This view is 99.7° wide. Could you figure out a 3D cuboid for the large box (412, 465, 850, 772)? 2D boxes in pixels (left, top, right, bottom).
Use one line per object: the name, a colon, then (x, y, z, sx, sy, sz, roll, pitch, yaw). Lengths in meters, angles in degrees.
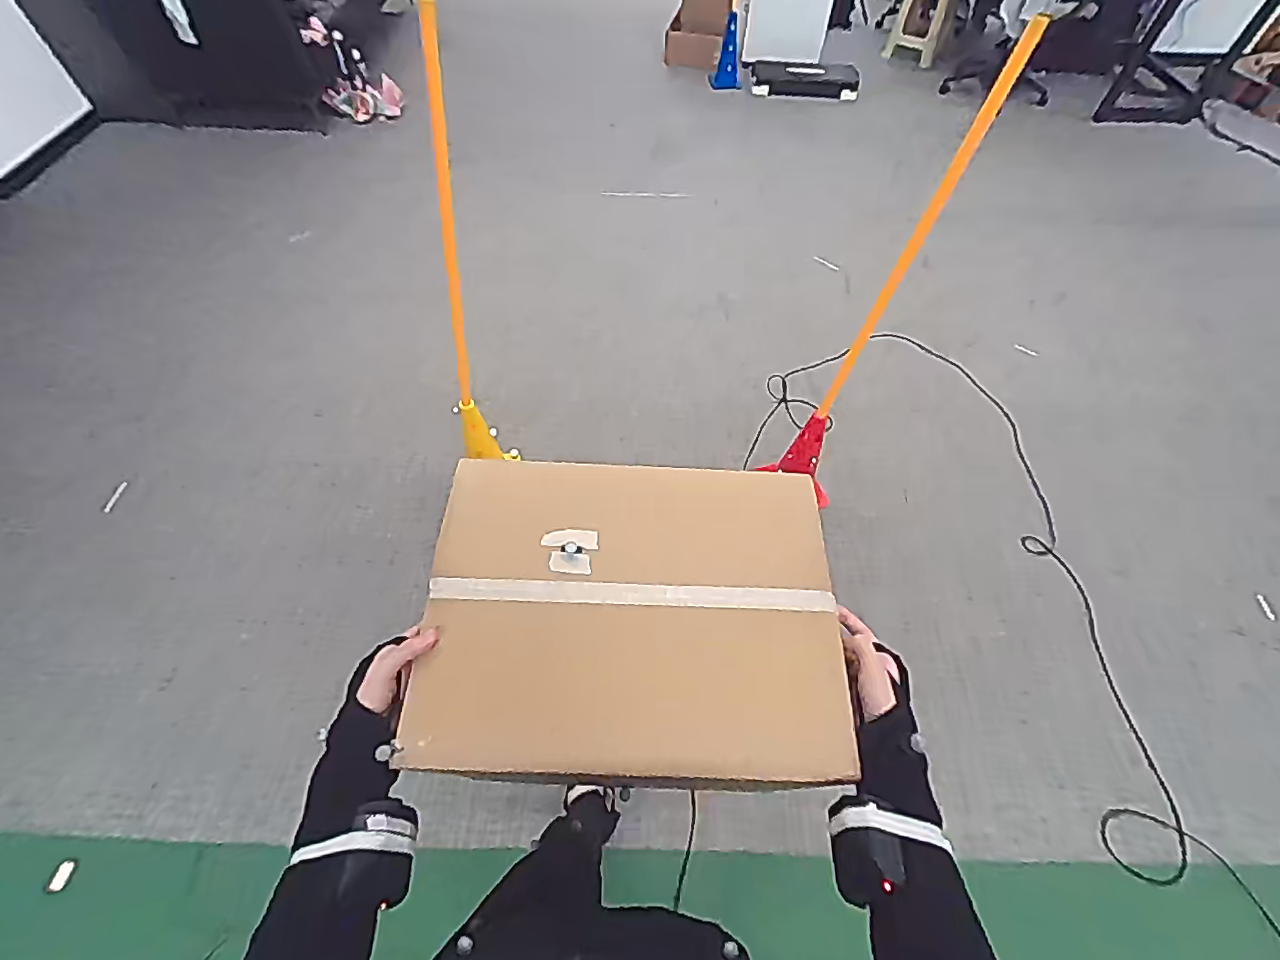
large box: (-0.007, 0.193, 0.687, 0.408, 0.320, 0.320, 2, 59, 0)
